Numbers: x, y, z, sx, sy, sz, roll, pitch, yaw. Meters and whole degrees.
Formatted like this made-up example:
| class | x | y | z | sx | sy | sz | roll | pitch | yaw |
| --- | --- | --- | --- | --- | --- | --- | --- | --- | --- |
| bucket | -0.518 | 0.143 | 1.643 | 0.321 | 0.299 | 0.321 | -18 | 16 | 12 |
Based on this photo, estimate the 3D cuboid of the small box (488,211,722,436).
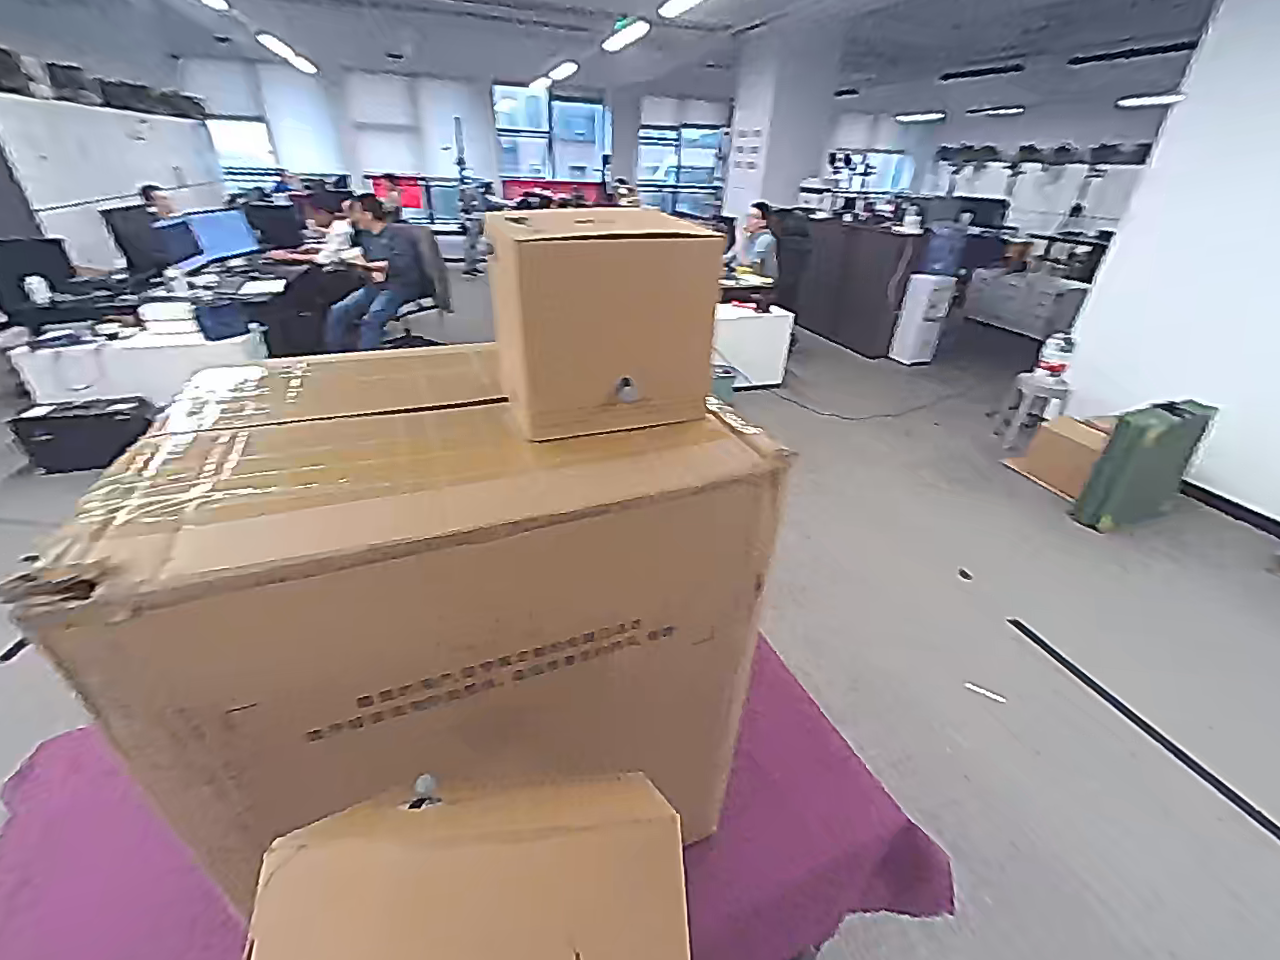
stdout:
| class | x | y | z | sx | sy | sz | roll | pitch | yaw |
| --- | --- | --- | --- | --- | --- | --- | --- | --- | --- |
| small box | -0.043 | -0.157 | 0.525 | 0.179 | 0.176 | 0.168 | -9 | 33 | -19 |
